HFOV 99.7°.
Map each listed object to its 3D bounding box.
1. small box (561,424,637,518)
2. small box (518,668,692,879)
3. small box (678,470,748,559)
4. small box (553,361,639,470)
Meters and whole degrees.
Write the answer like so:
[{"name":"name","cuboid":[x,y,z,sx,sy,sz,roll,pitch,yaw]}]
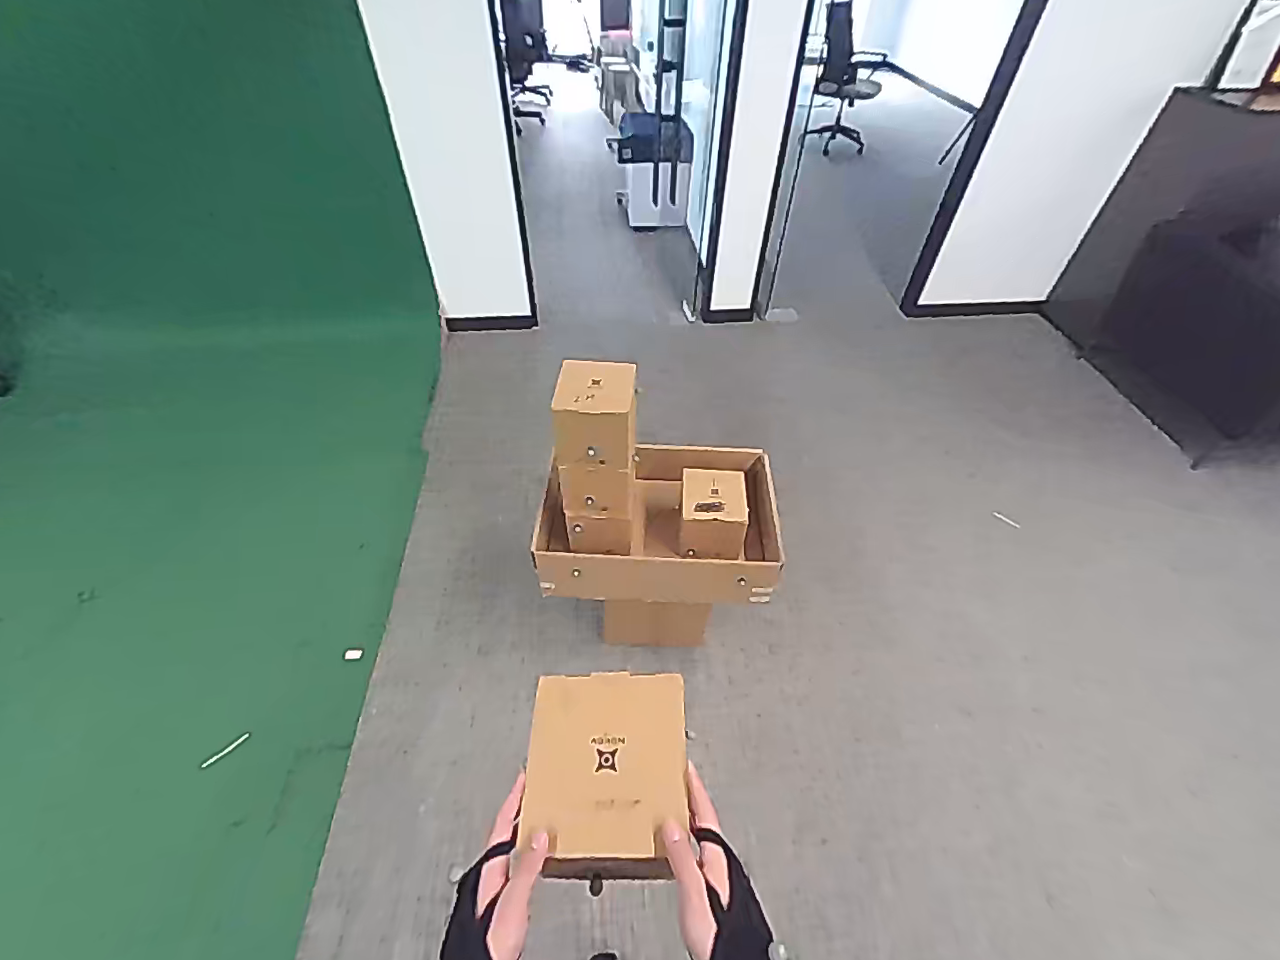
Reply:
[{"name":"small box","cuboid":[-0.098,-0.030,1.338,0.168,0.176,0.179,4,47,1]},{"name":"small box","cuboid":[-0.028,0.333,0.616,0.168,0.176,0.179,-1,47,3]},{"name":"small box","cuboid":[0.192,0.095,1.450,0.168,0.176,0.179,4,47,2]},{"name":"small box","cuboid":[-0.094,-0.145,1.220,0.168,0.176,0.179,4,48,3]}]
